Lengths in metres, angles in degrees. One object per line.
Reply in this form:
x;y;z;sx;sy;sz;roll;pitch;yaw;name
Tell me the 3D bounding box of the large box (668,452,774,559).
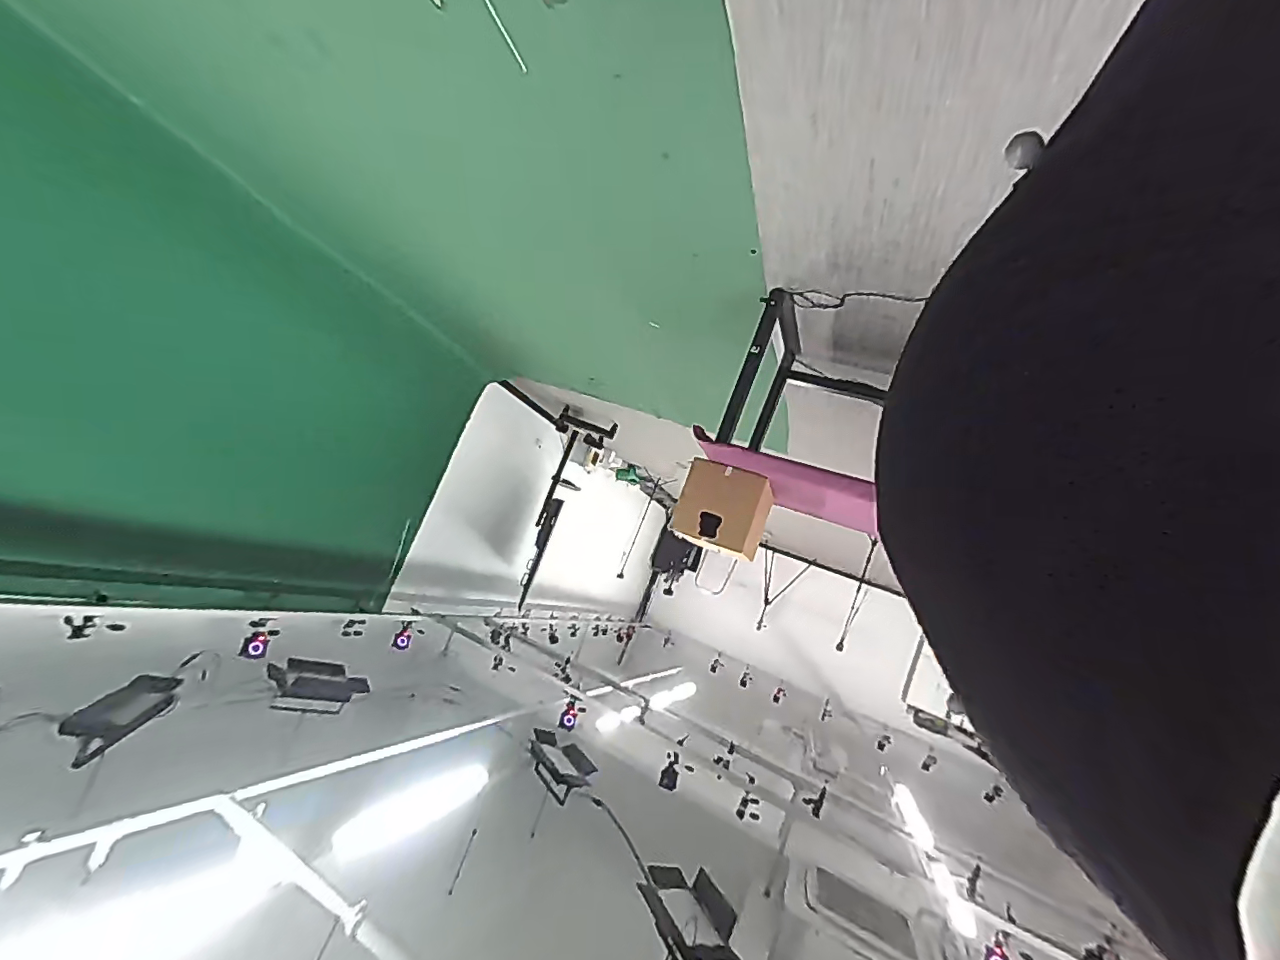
0.356;0.116;2.272;0.320;0.320;0.408;17;171;21;large box
